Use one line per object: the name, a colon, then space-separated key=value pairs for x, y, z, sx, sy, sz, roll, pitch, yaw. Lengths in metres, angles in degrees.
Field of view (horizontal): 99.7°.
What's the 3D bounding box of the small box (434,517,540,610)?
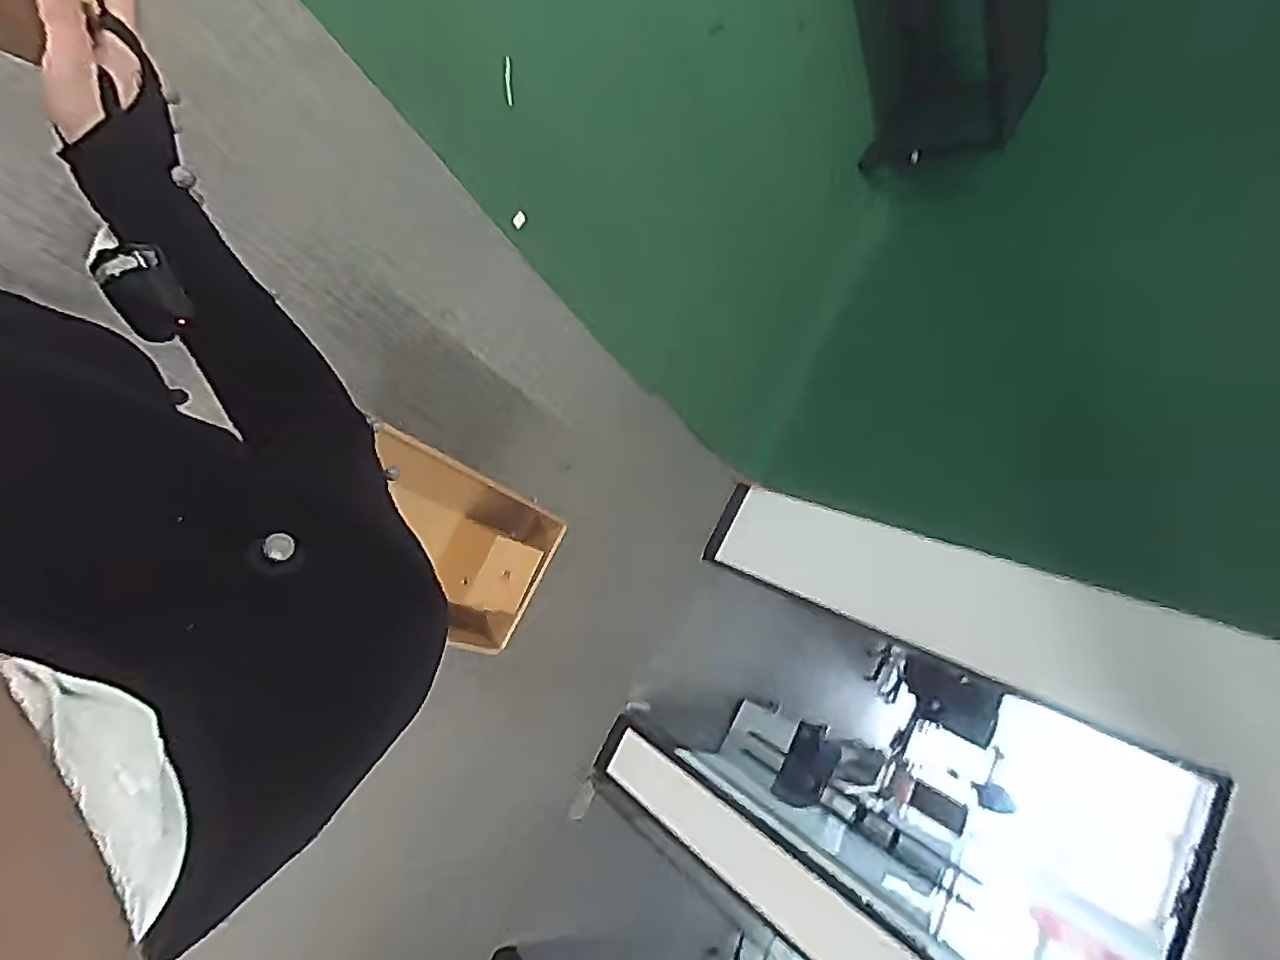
small box: x=-0.398 y=0.212 z=1.397 sx=0.168 sy=0.176 sz=0.179 roll=32 pitch=80 yaw=-49
